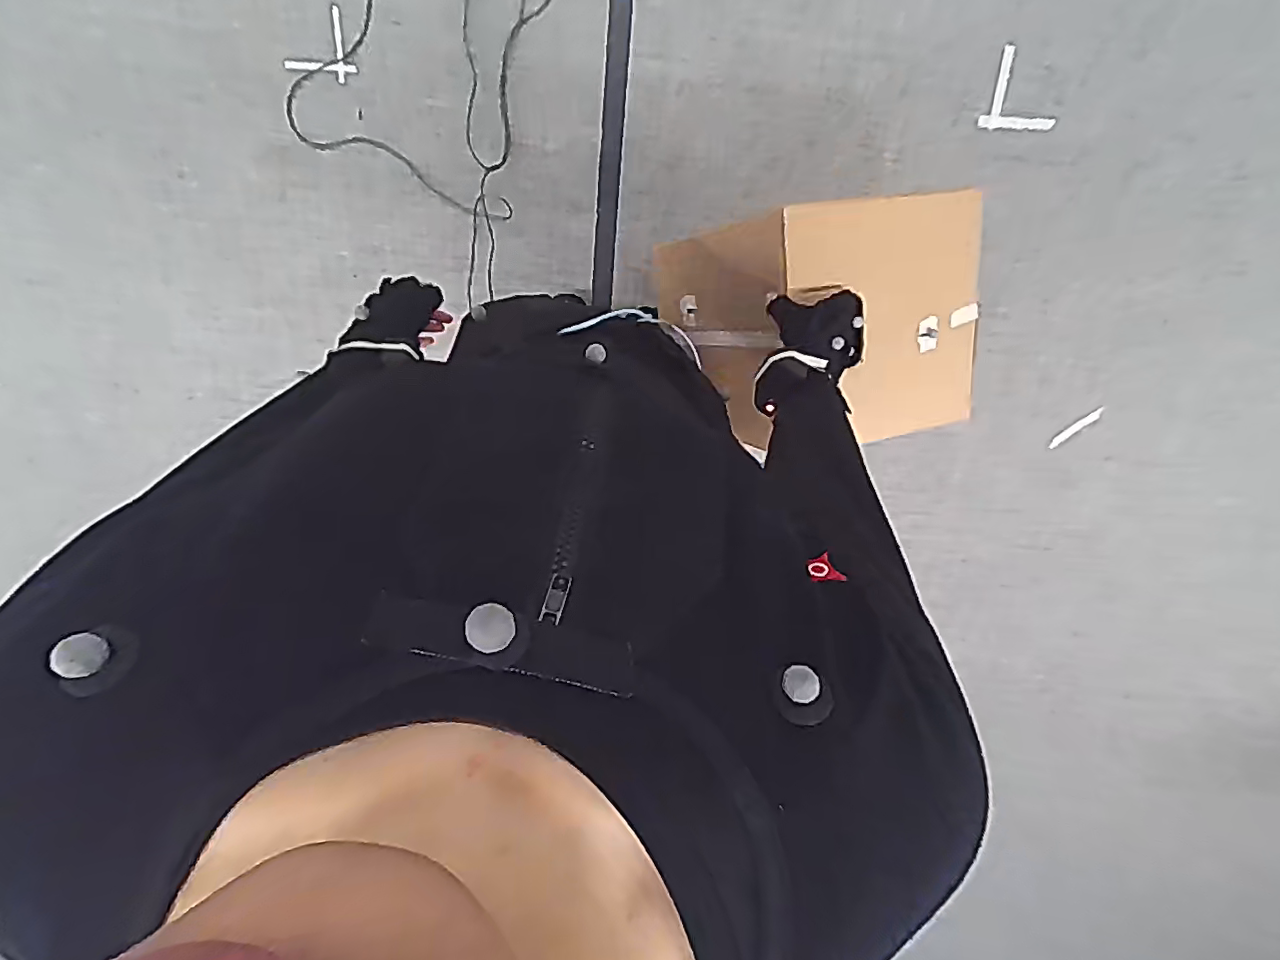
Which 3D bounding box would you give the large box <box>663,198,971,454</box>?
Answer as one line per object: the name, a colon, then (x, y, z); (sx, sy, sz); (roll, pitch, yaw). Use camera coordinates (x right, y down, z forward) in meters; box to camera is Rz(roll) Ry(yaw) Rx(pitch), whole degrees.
large box: (0.263, -0.249, 0.900); (0.320, 0.408, 0.320); (-10, 106, -16)
